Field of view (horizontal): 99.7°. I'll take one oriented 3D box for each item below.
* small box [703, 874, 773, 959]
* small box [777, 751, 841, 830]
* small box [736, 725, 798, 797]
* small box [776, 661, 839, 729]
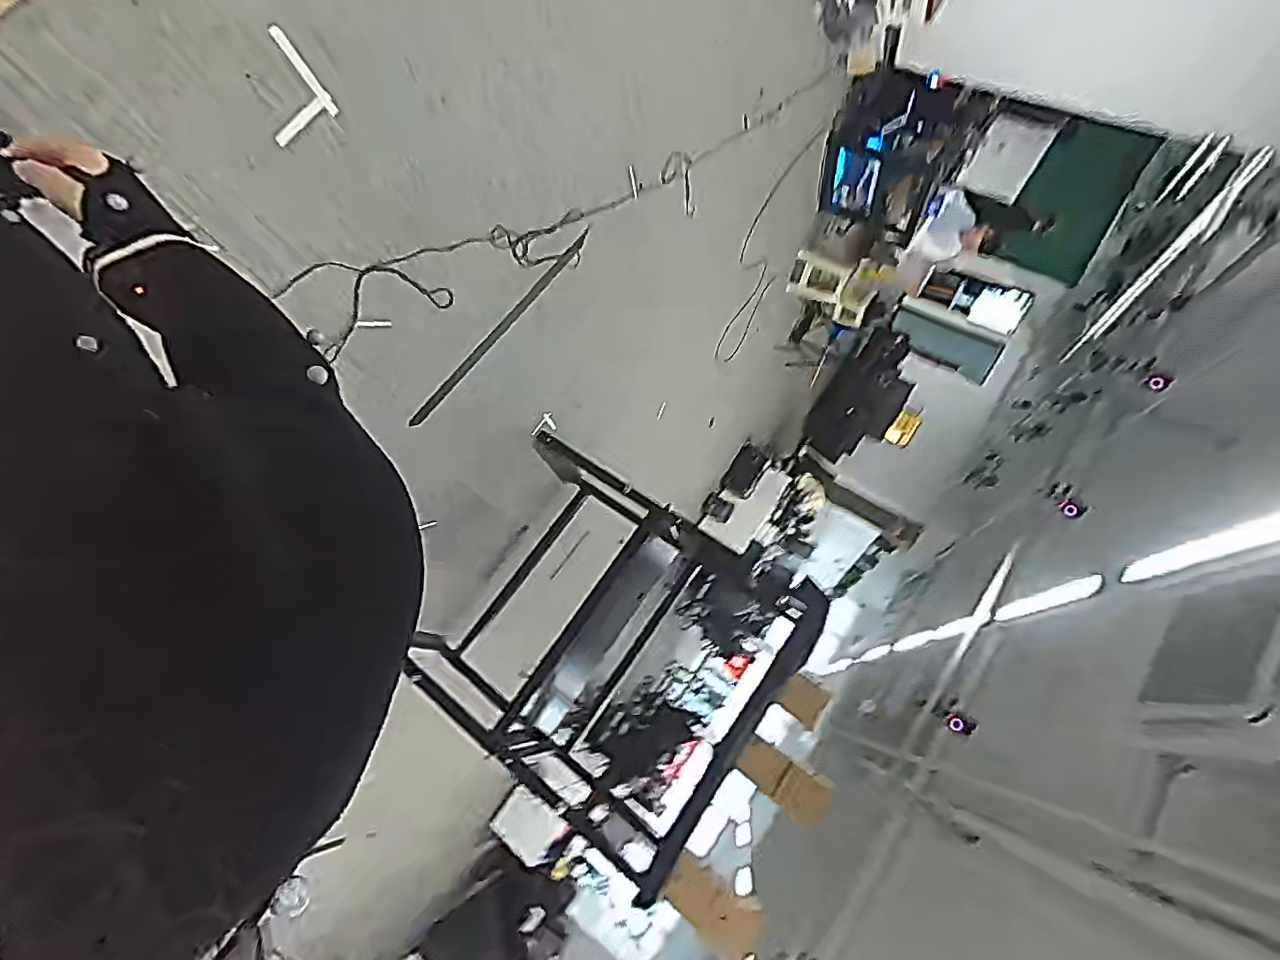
[{"bbox_3d":[0.324,1.468,1.809,0.168,0.176,0.179,-54,159,-13],"label":"small box"},{"bbox_3d":[0.601,1.118,1.960,0.168,0.176,0.179,-54,161,-9],"label":"small box"},{"bbox_3d":[0.471,1.045,2.026,0.168,0.176,0.179,-54,161,-11],"label":"small box"},{"bbox_3d":[0.632,0.811,2.064,0.168,0.176,0.179,-57,161,-4],"label":"small box"}]
